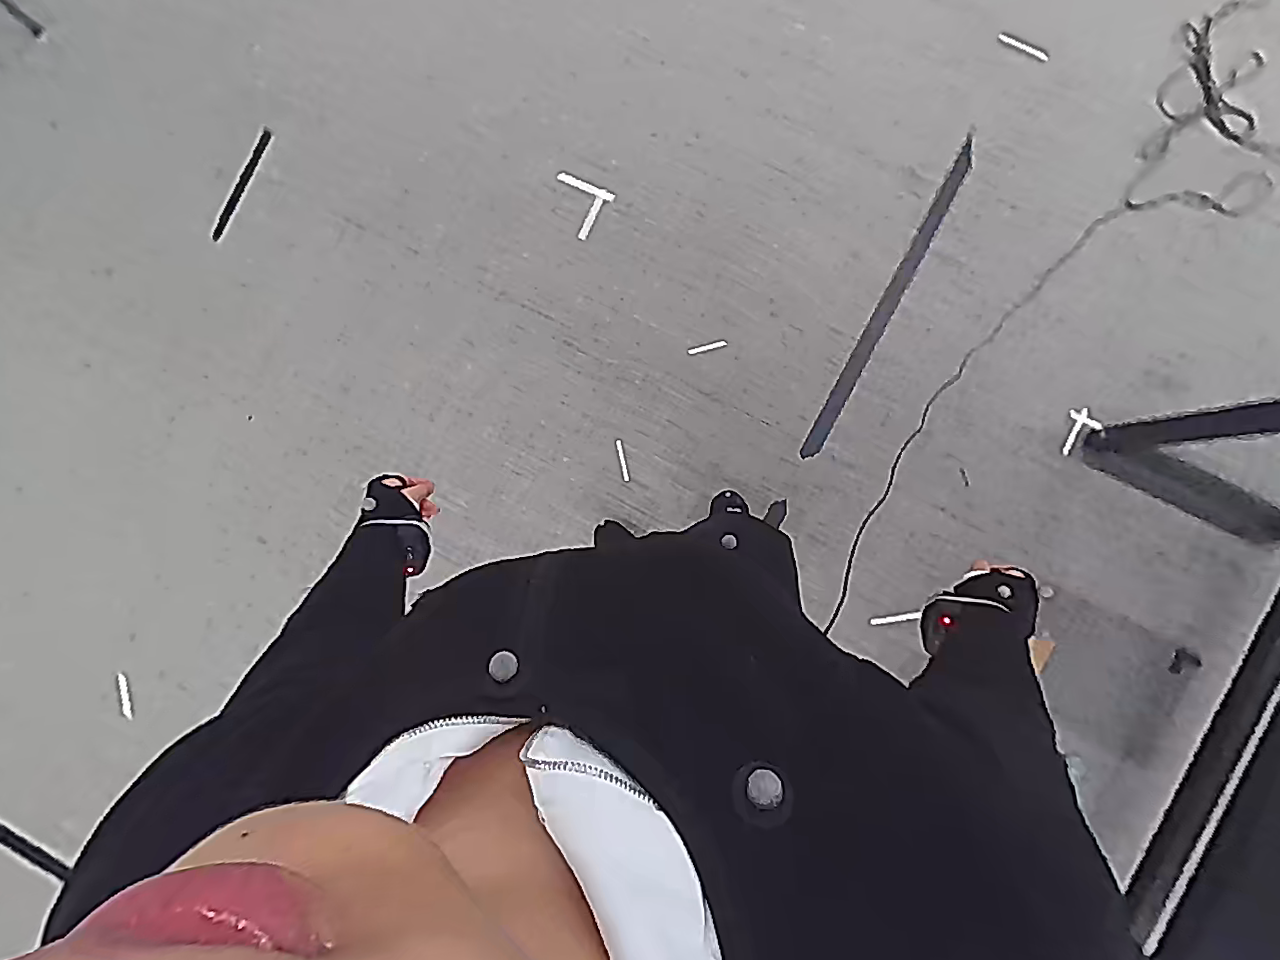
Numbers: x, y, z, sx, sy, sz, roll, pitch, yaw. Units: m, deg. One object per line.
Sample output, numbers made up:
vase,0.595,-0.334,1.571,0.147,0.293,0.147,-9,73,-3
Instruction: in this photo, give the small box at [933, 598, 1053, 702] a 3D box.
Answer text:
small box,0.882,0.423,1.373,0.168,0.176,0.179,27,88,3
